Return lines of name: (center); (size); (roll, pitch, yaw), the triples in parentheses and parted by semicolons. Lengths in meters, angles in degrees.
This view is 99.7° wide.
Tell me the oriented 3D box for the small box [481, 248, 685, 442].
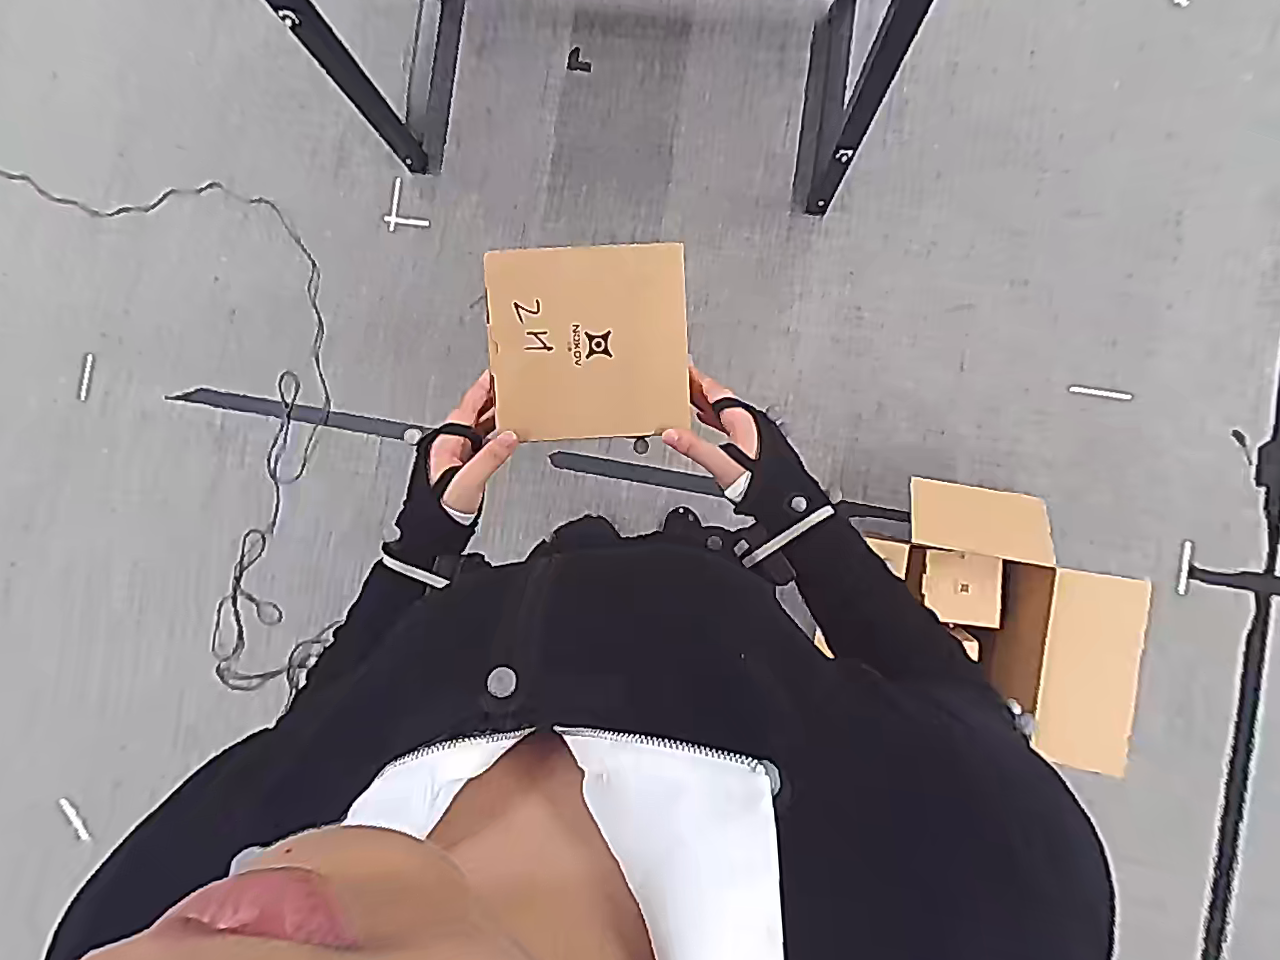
small box: (-0.052, -0.128, 0.560); (0.179, 0.176, 0.168); (-3, 95, -1)
